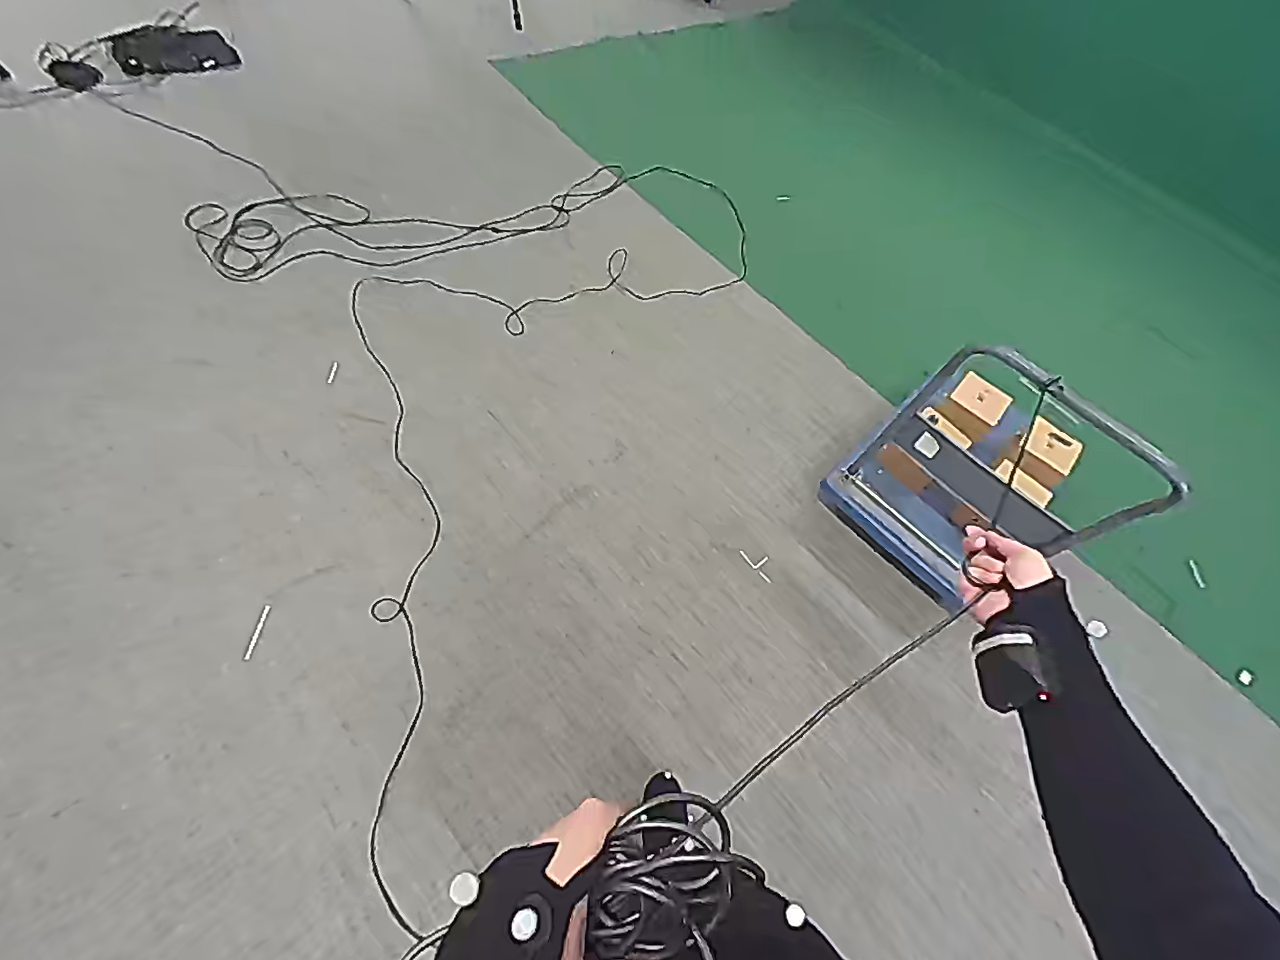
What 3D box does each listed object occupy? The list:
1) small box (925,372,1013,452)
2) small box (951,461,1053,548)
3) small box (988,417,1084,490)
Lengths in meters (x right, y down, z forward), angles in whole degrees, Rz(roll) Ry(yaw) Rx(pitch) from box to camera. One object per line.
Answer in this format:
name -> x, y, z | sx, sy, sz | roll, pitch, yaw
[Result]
small box -> 1.119, -0.227, 1.853 | 0.168, 0.176, 0.179 | 42, 62, 14
small box -> 1.109, 0.078, 1.672 | 0.179, 0.176, 0.168 | -36, 71, -25
small box -> 1.303, -0.067, 1.790 | 0.168, 0.176, 0.179 | 41, 63, 15
